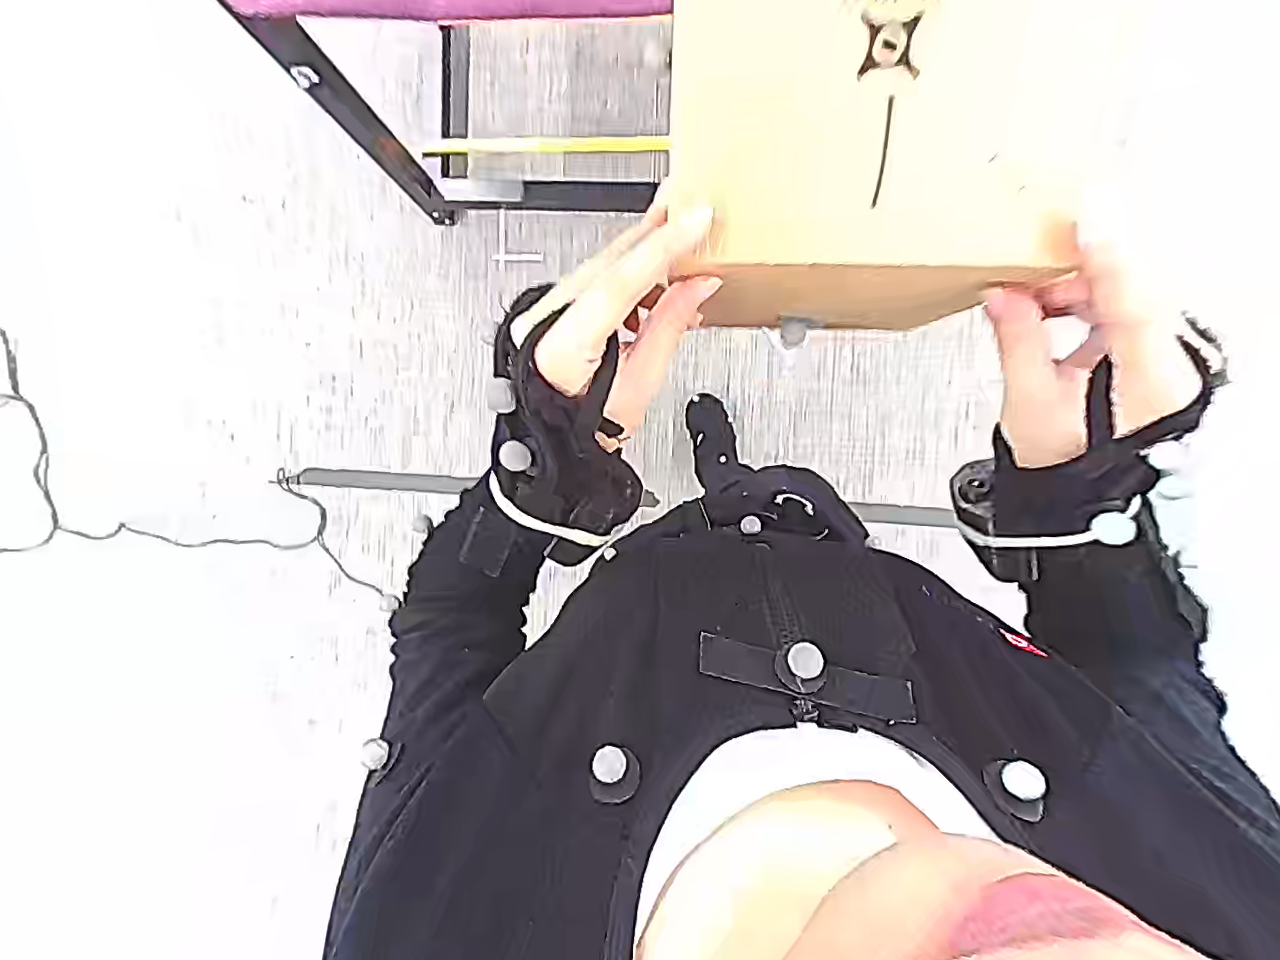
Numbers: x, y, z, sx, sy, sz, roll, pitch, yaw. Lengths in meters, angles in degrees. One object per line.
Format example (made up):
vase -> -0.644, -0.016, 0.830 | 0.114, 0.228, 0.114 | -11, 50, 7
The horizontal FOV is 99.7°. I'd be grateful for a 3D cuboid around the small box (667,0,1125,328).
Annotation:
small box -> 0.100, -0.184, 0.282 | 0.168, 0.176, 0.179 | 2, 98, 3
